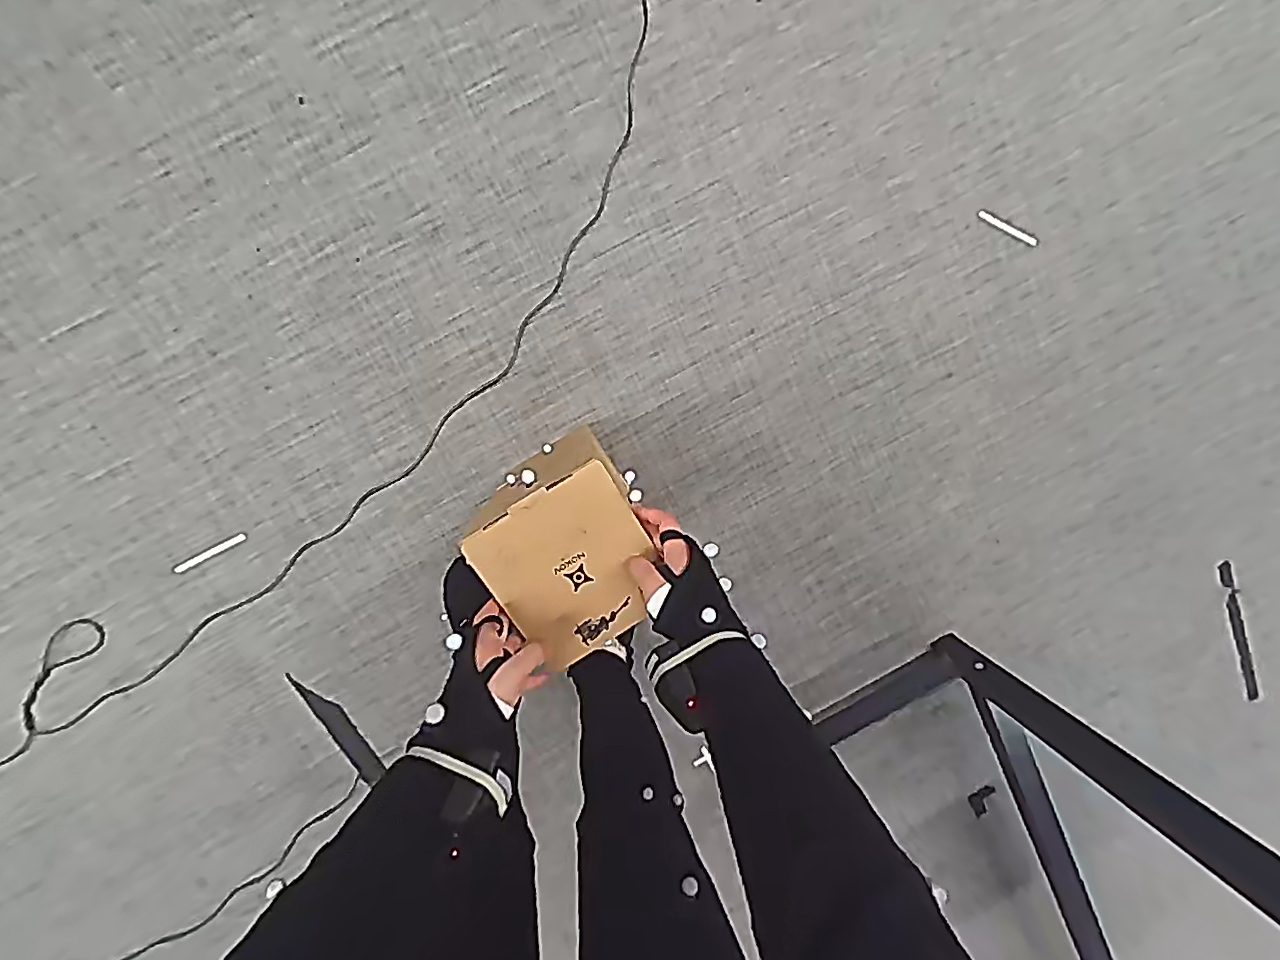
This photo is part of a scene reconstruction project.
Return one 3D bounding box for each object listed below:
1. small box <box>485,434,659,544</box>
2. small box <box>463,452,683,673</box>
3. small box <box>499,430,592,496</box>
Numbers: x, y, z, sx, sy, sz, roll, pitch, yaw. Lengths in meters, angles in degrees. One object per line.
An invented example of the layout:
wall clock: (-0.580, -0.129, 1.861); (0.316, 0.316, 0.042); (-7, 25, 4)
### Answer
small box: (-0.097, 0.050, 0.791); (0.179, 0.176, 0.168); (-35, 103, -1)
small box: (-0.076, 0.079, 0.631); (0.168, 0.176, 0.179); (-32, 102, -1)
small box: (-0.122, 0.026, 0.949); (0.179, 0.176, 0.168); (-32, 102, 0)
